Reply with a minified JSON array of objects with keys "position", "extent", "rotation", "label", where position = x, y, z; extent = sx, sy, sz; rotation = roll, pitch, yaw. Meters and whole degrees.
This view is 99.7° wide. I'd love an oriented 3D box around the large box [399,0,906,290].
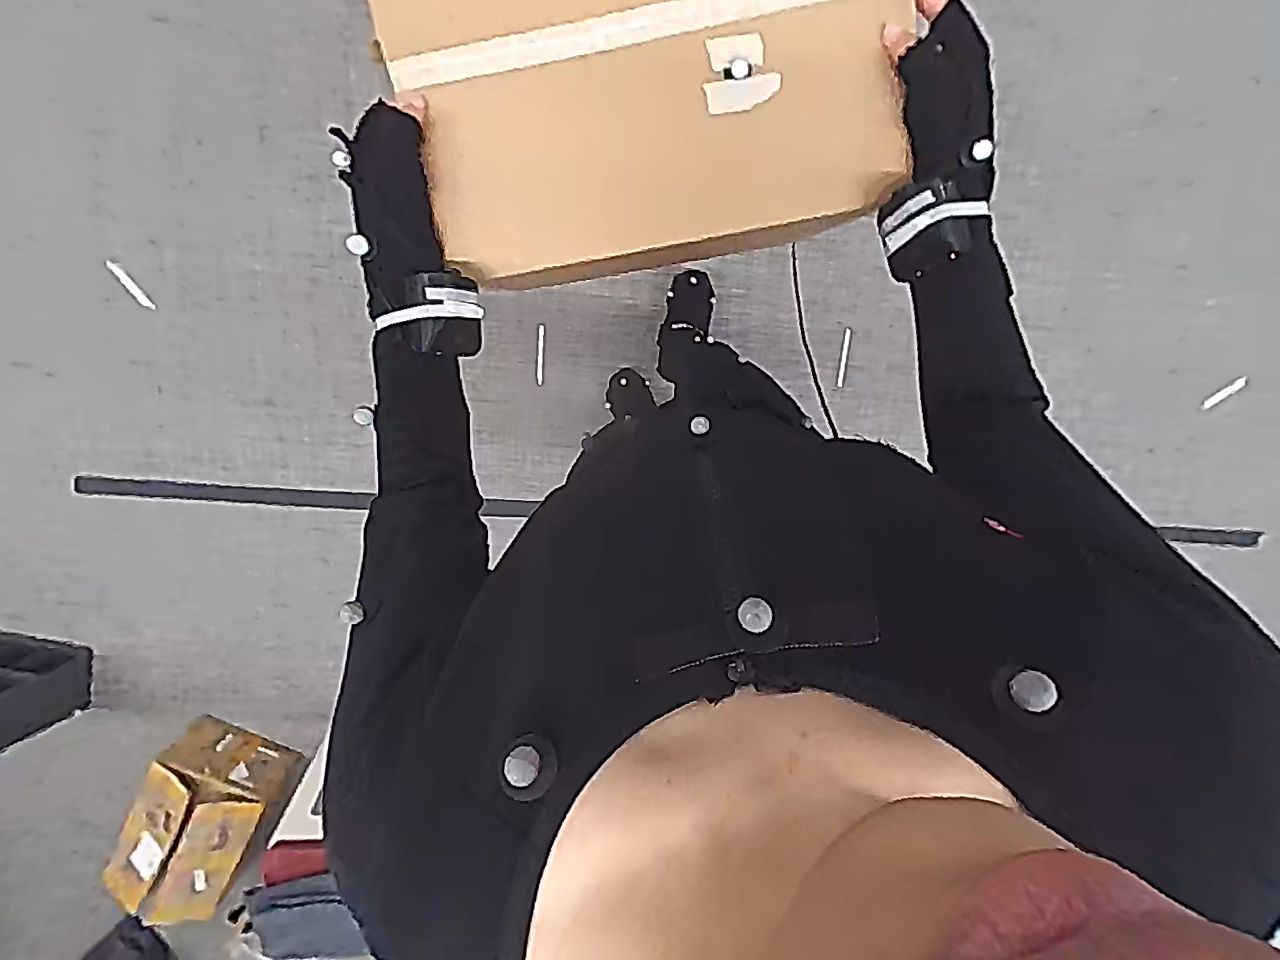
[{"position":[0.010,-0.403,0.580],"extent":[0.408,0.320,0.320],"rotation":[-9,109,2],"label":"large box"}]
